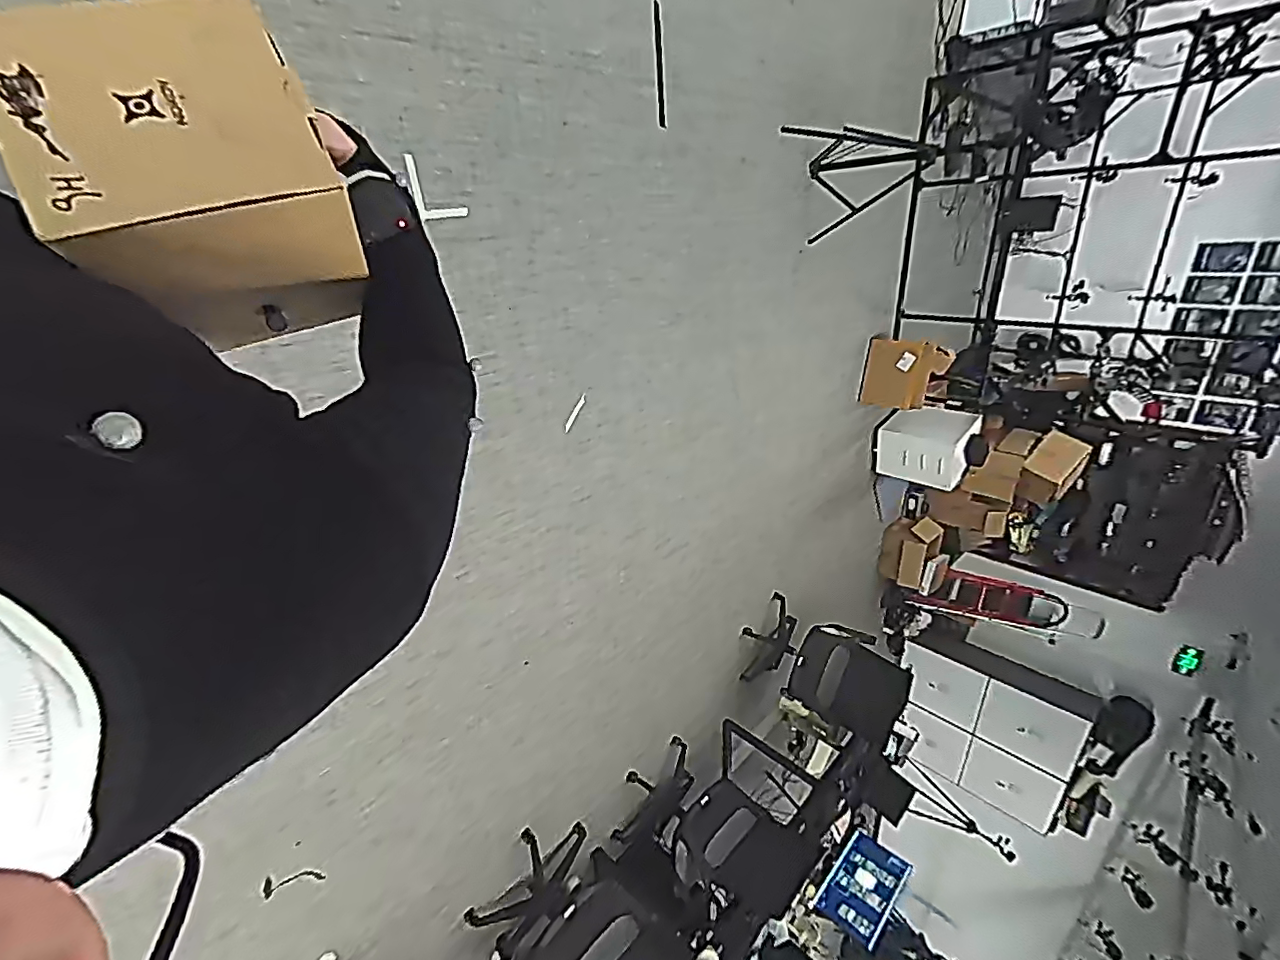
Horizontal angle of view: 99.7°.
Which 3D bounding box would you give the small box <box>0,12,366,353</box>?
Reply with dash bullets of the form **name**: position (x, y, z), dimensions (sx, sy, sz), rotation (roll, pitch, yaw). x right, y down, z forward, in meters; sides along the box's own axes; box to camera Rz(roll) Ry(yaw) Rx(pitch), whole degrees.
- **small box**: position (-0.348, -0.233, 0.448), dimensions (0.179, 0.176, 0.168), rotation (-25, 85, -22)
